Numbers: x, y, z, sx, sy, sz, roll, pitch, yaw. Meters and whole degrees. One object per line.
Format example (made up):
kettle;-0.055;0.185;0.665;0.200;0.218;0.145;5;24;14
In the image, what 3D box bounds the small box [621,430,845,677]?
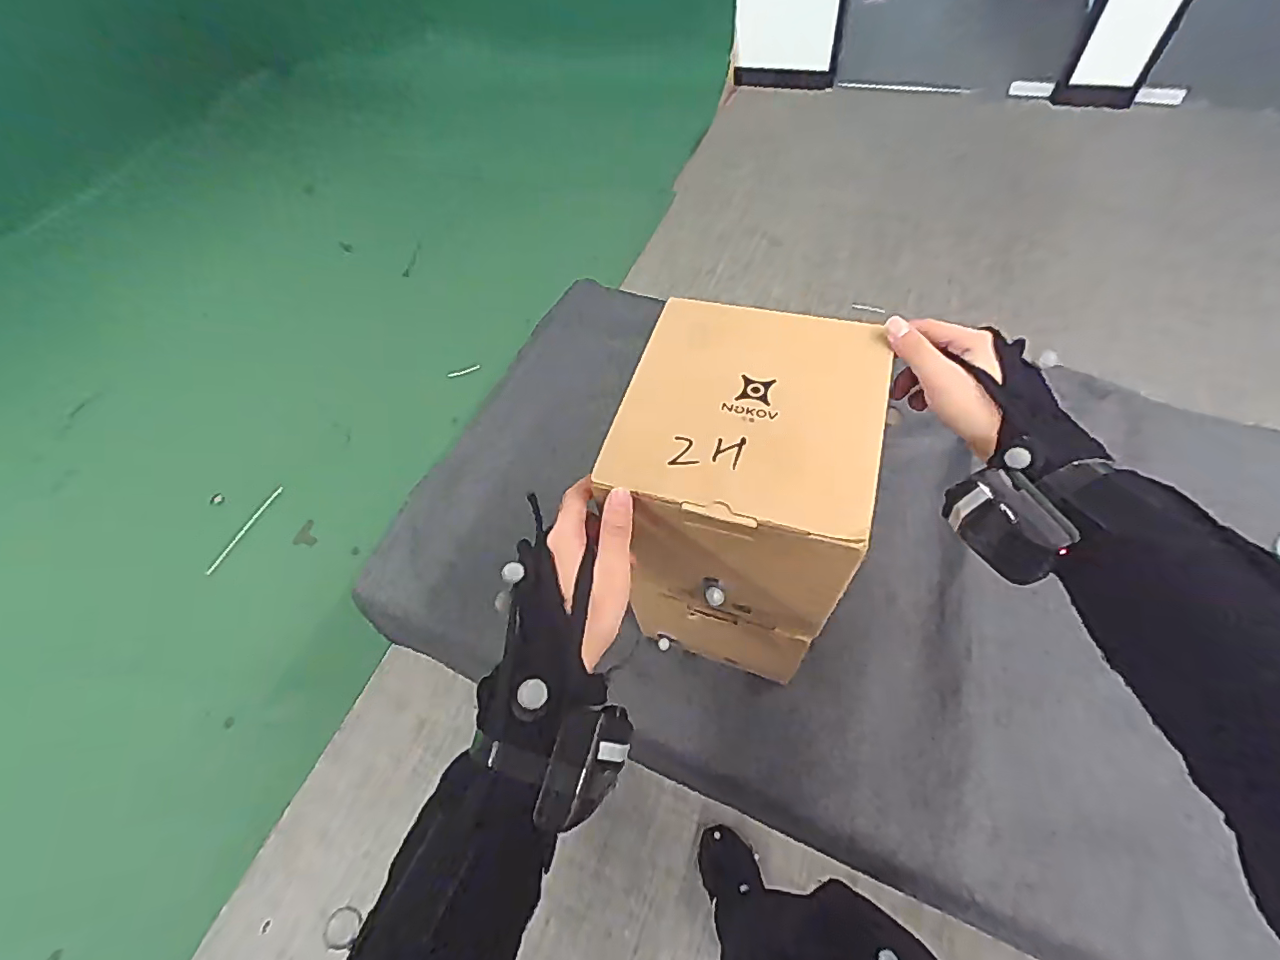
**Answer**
small box;0.097;0.081;0.557;0.168;0.176;0.179;15;61;16
